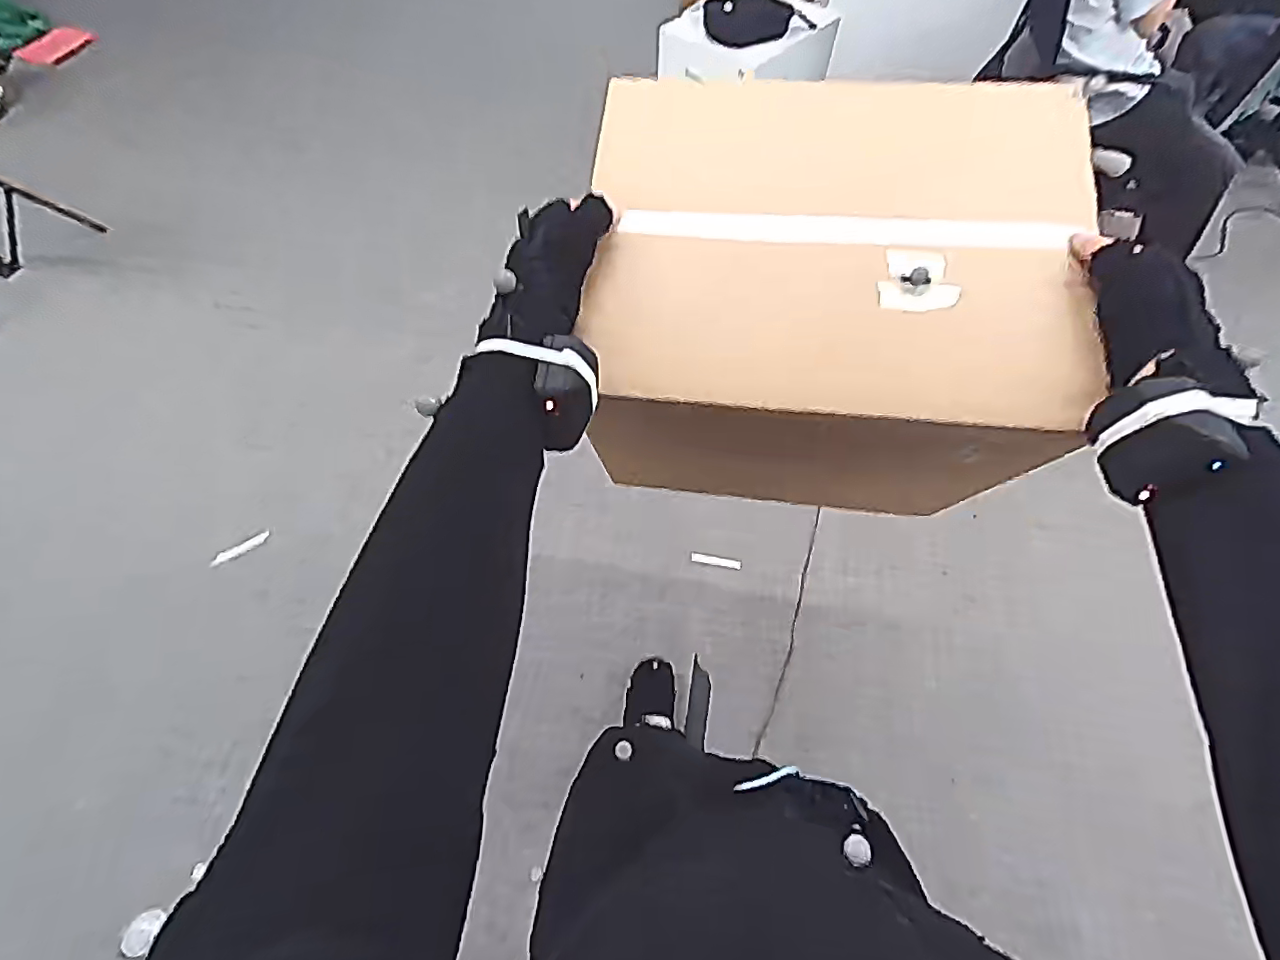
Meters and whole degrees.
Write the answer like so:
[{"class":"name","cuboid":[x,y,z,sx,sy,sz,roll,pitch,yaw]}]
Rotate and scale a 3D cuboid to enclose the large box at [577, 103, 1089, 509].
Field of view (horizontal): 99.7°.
[{"class":"large box","cuboid":[0.170,-0.162,0.605,0.408,0.320,0.320,6,77,7]}]
